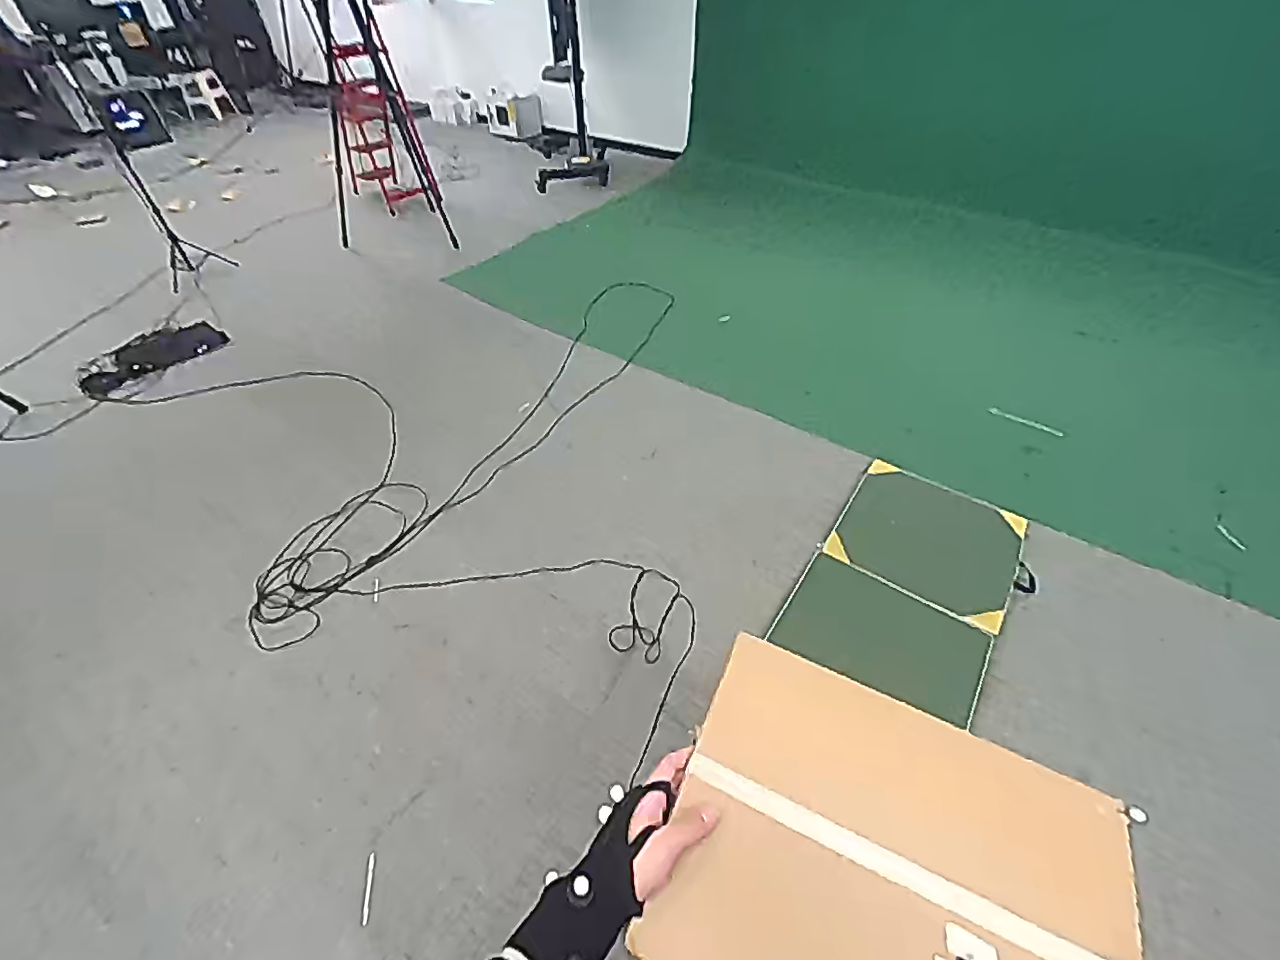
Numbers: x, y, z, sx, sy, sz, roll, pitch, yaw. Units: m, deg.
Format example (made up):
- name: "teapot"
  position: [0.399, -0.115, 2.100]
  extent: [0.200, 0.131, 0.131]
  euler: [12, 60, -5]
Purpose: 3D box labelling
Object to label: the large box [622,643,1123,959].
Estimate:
- name: "large box"
  position: [0.223, 0.456, 0.621]
  extent: [0.408, 0.320, 0.320]
  euler: [21, 53, 13]
